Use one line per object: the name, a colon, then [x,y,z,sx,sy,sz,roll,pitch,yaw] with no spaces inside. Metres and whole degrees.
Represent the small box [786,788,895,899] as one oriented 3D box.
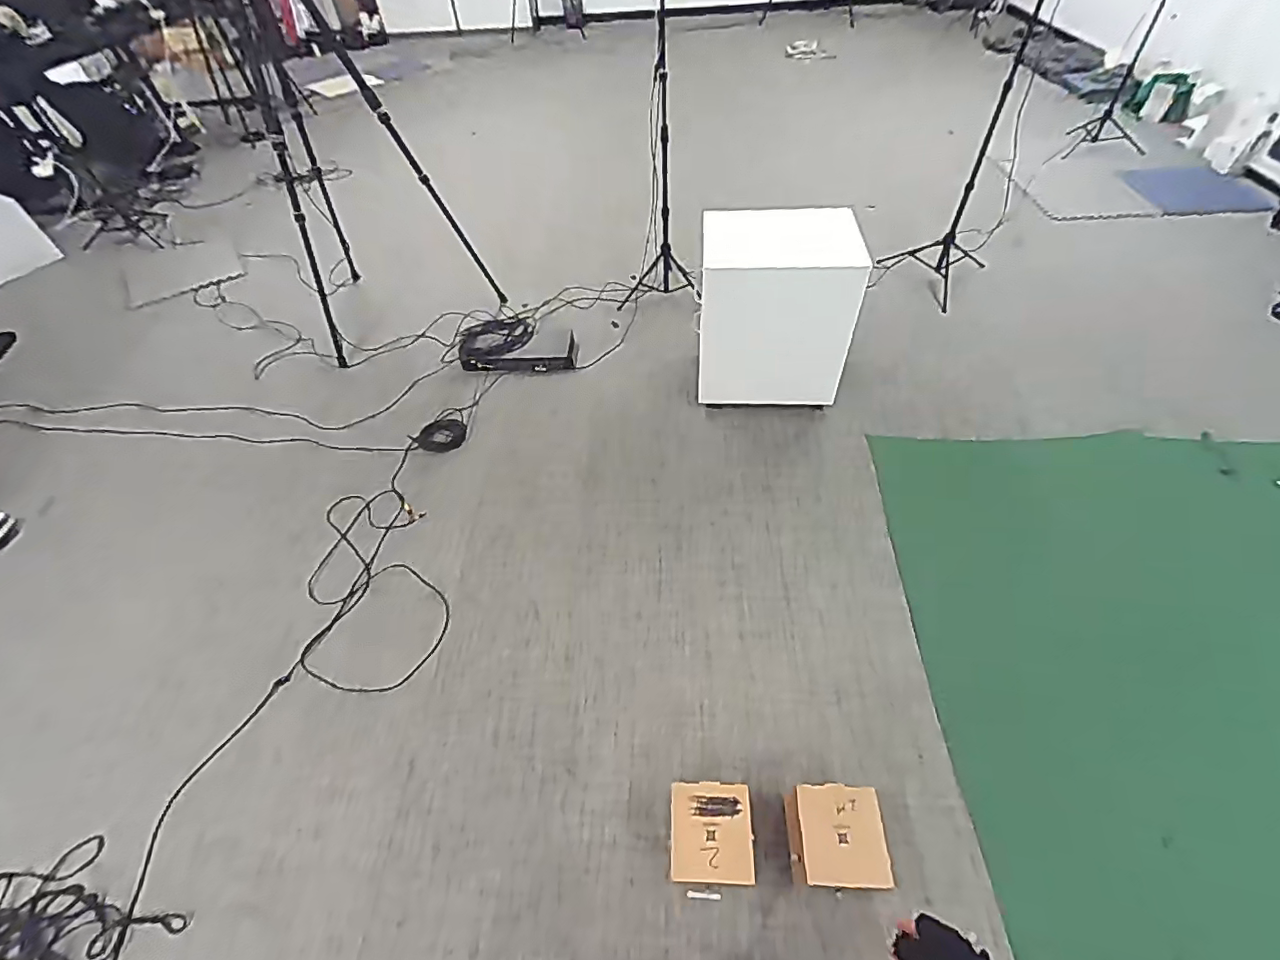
small box: [0.410,0.766,1.137,0.168,0.176,0.179,1,49,4]
